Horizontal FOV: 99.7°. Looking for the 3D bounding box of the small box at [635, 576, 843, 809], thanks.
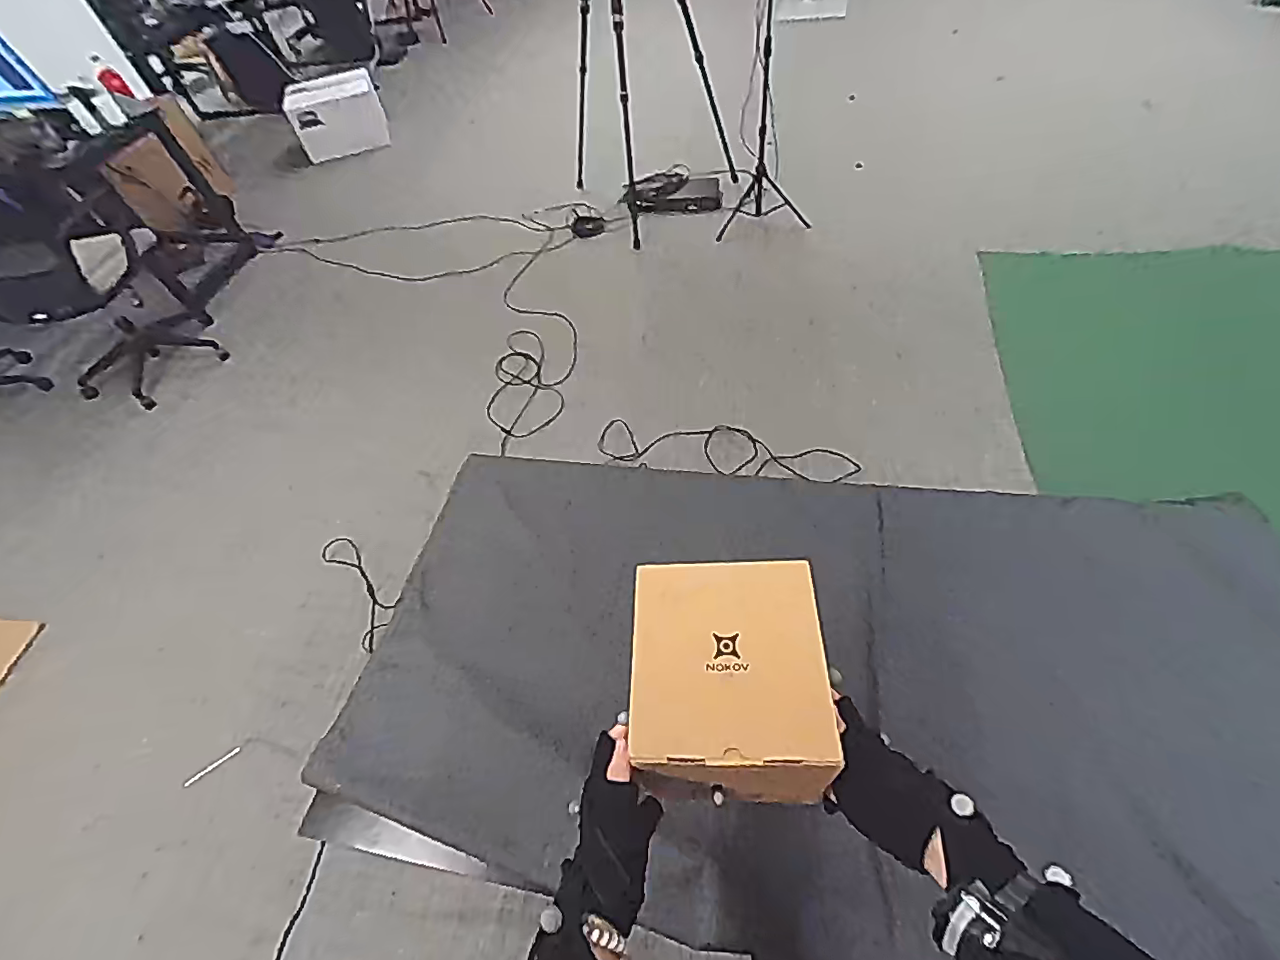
[{"bbox_3d":[0.089,0.212,0.539,0.168,0.176,0.179,-3,52,7],"label":"small box"}]
